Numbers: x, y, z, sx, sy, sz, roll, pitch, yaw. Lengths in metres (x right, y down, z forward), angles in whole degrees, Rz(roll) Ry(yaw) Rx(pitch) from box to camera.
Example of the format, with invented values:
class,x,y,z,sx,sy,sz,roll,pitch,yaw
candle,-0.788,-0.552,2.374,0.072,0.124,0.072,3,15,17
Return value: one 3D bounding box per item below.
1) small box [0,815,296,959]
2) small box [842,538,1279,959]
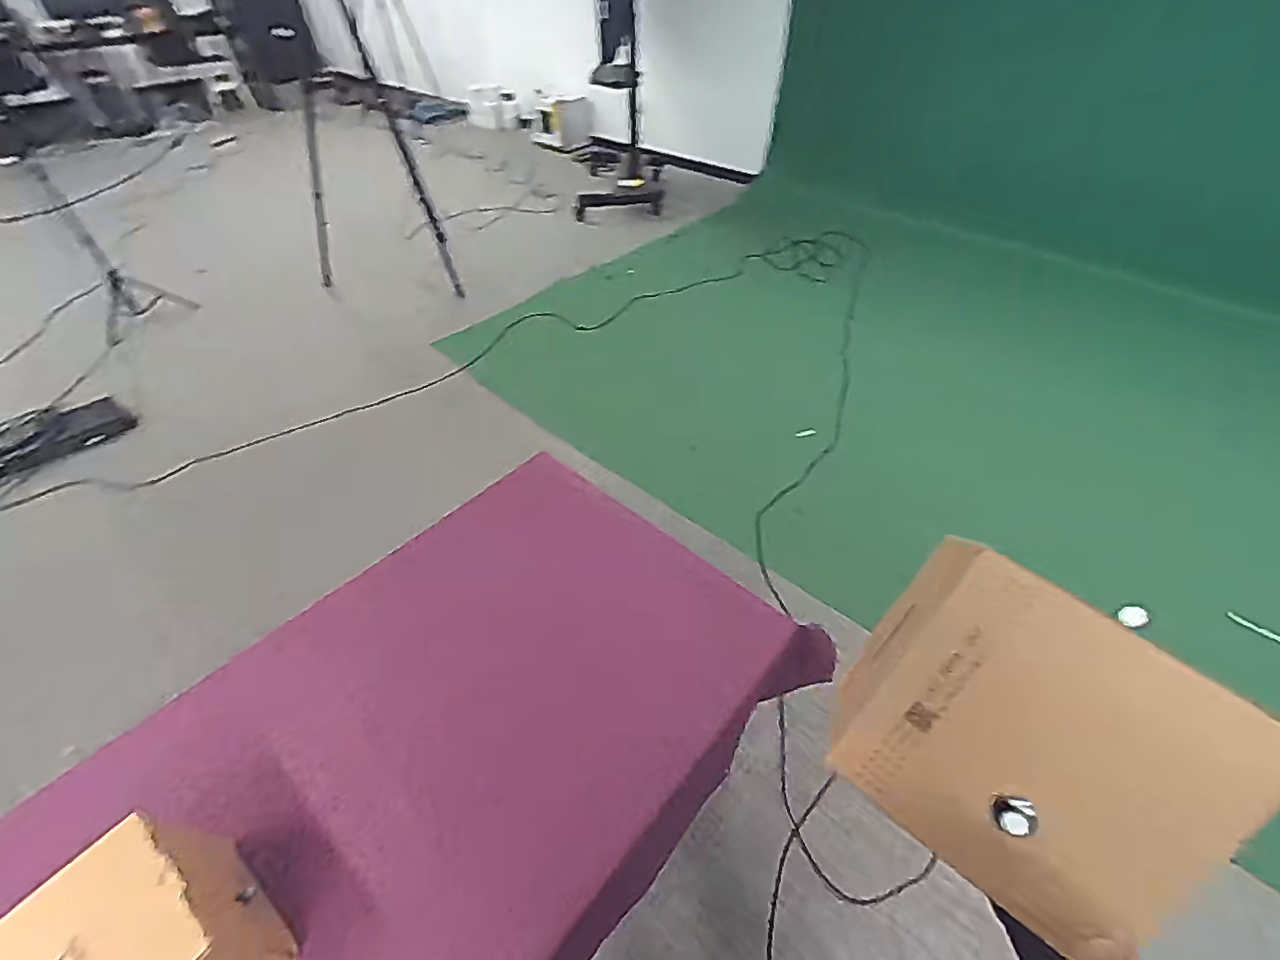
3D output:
class,x,y,z,sx,sy,sz,roll,pitch,yaw
small box,-0.479,0.471,0.511,0.168,0.176,0.179,28,51,25
small box,0.255,0.154,0.368,0.176,0.179,0.168,37,101,19
